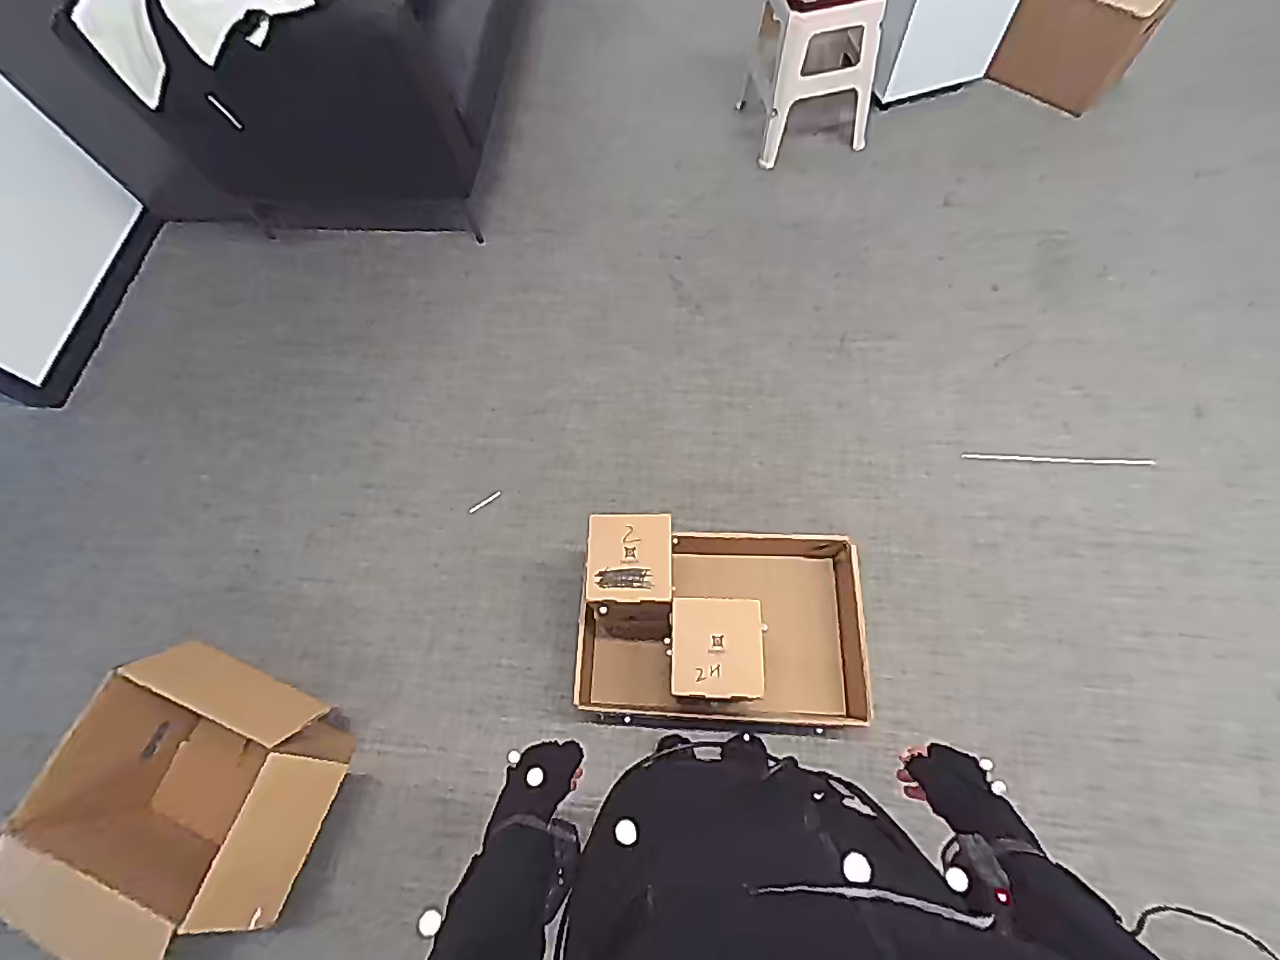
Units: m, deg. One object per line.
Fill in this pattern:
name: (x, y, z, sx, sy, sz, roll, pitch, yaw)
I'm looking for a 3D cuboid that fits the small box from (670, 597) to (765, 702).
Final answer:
small box: (0.144, 0.332, 1.050, 0.168, 0.176, 0.179, 1, 68, 4)
